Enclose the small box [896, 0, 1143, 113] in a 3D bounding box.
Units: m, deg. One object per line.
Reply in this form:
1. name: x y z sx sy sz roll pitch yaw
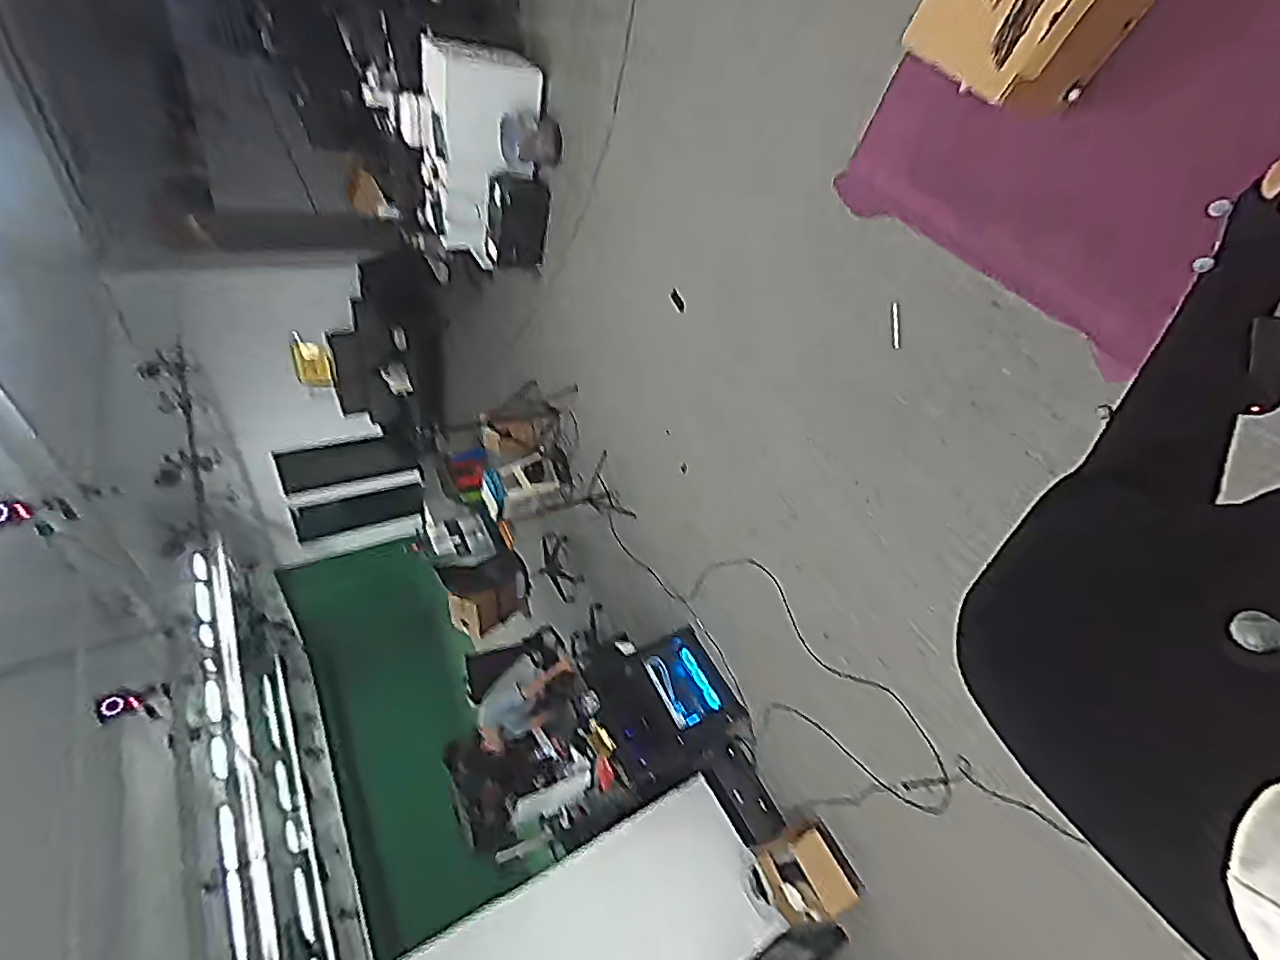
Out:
1. small box: 0.466 -0.575 0.655 0.179 0.176 0.168 59 146 25
